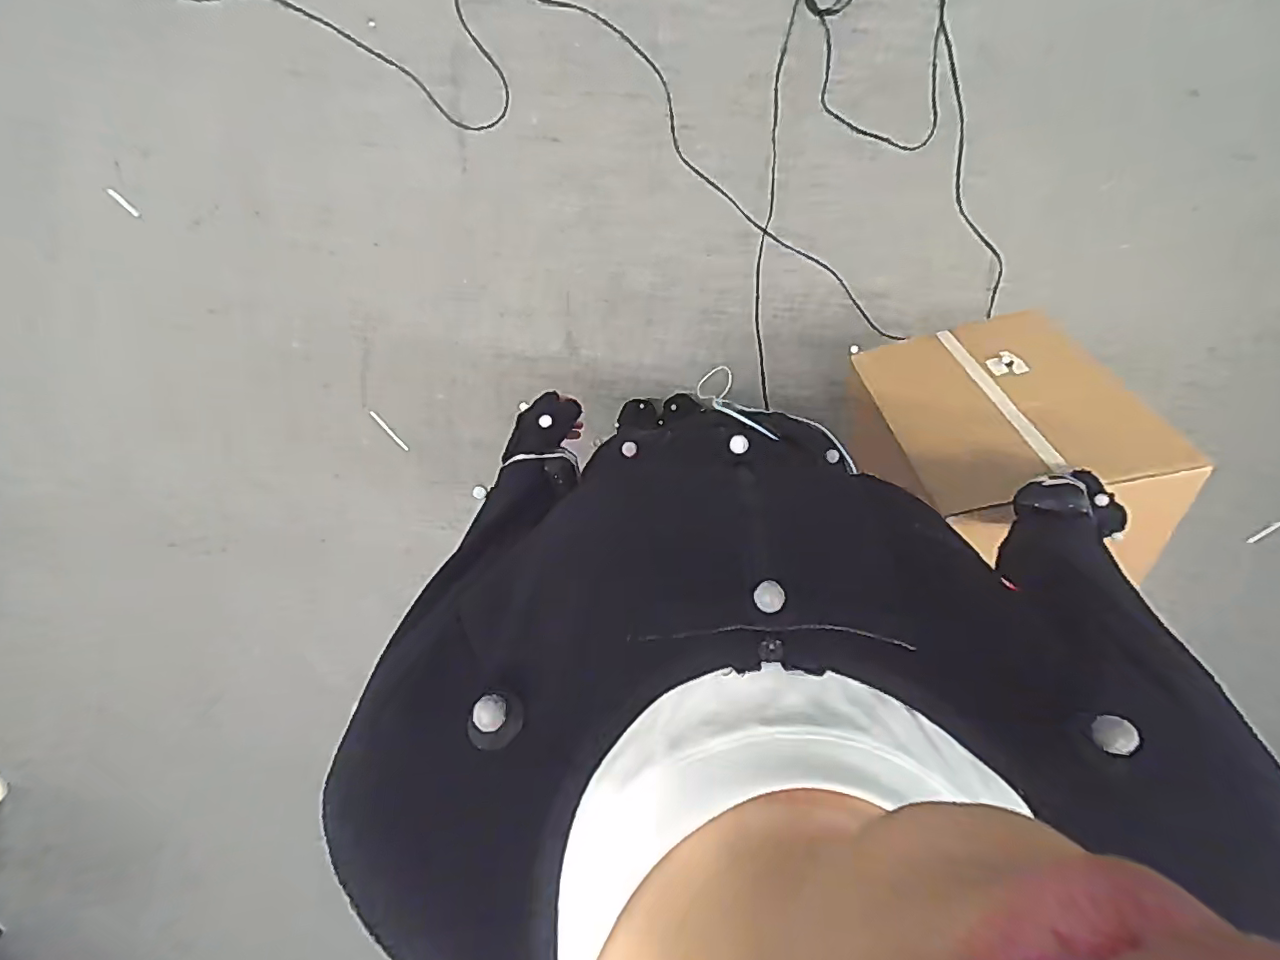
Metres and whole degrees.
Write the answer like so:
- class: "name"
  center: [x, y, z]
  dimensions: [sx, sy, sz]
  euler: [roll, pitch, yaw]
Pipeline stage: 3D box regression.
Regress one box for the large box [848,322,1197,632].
- class: "large box"
  center: [0.579, -0.010, 0.931]
  dimensions: [0.320, 0.408, 0.320]
  euler: [-11, 132, 9]
